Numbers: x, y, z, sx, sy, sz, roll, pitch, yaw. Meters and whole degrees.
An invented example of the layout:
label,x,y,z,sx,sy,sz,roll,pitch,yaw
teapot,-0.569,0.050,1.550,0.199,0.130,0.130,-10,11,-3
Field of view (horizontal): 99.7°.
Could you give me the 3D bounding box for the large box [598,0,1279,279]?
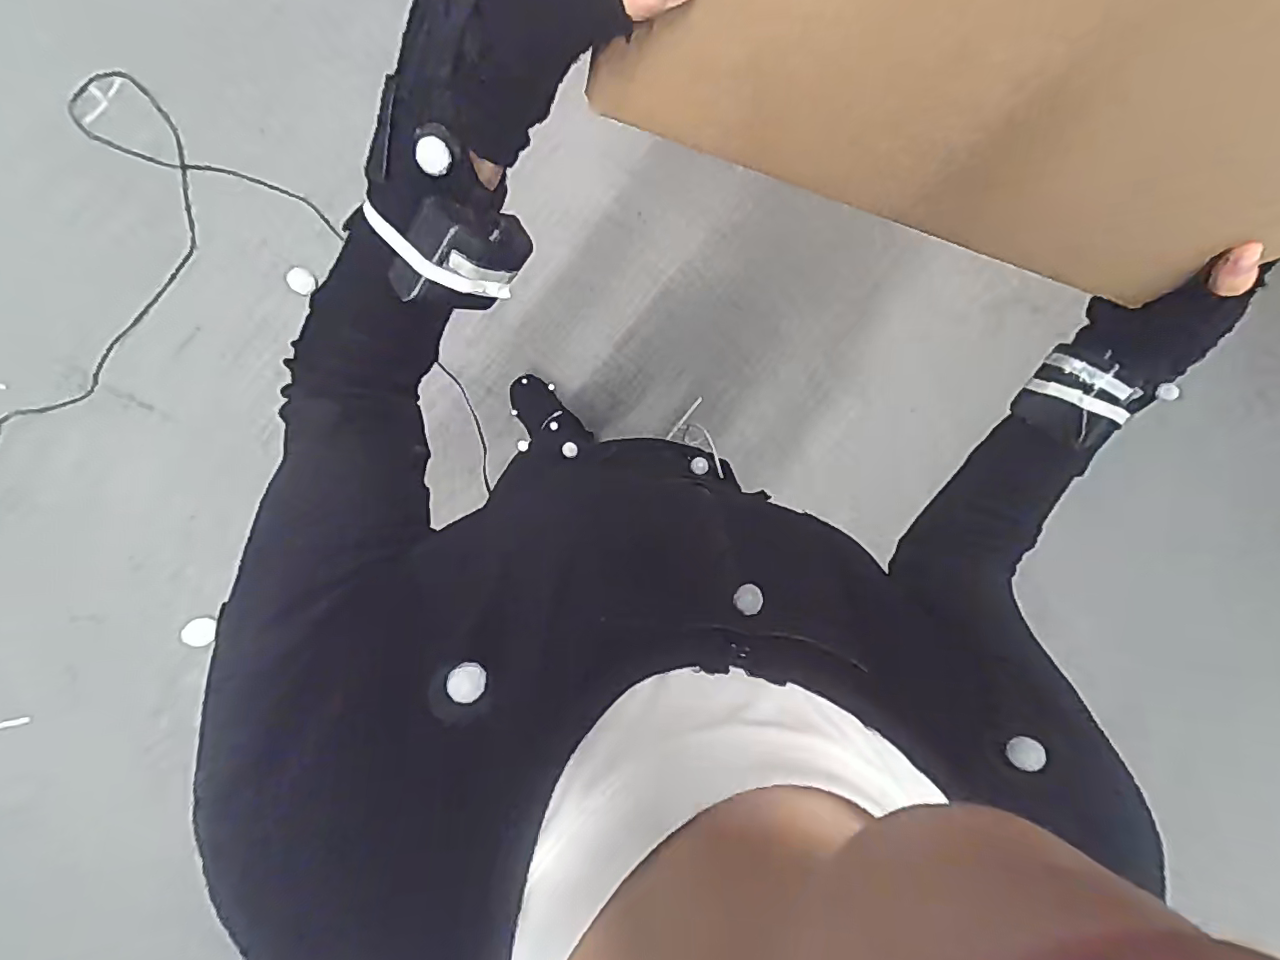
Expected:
label,x,y,z,sx,sy,sz,roll,pitch,yaw
large box,0.222,-0.328,0.209,0.408,0.320,0.320,9,83,-17
